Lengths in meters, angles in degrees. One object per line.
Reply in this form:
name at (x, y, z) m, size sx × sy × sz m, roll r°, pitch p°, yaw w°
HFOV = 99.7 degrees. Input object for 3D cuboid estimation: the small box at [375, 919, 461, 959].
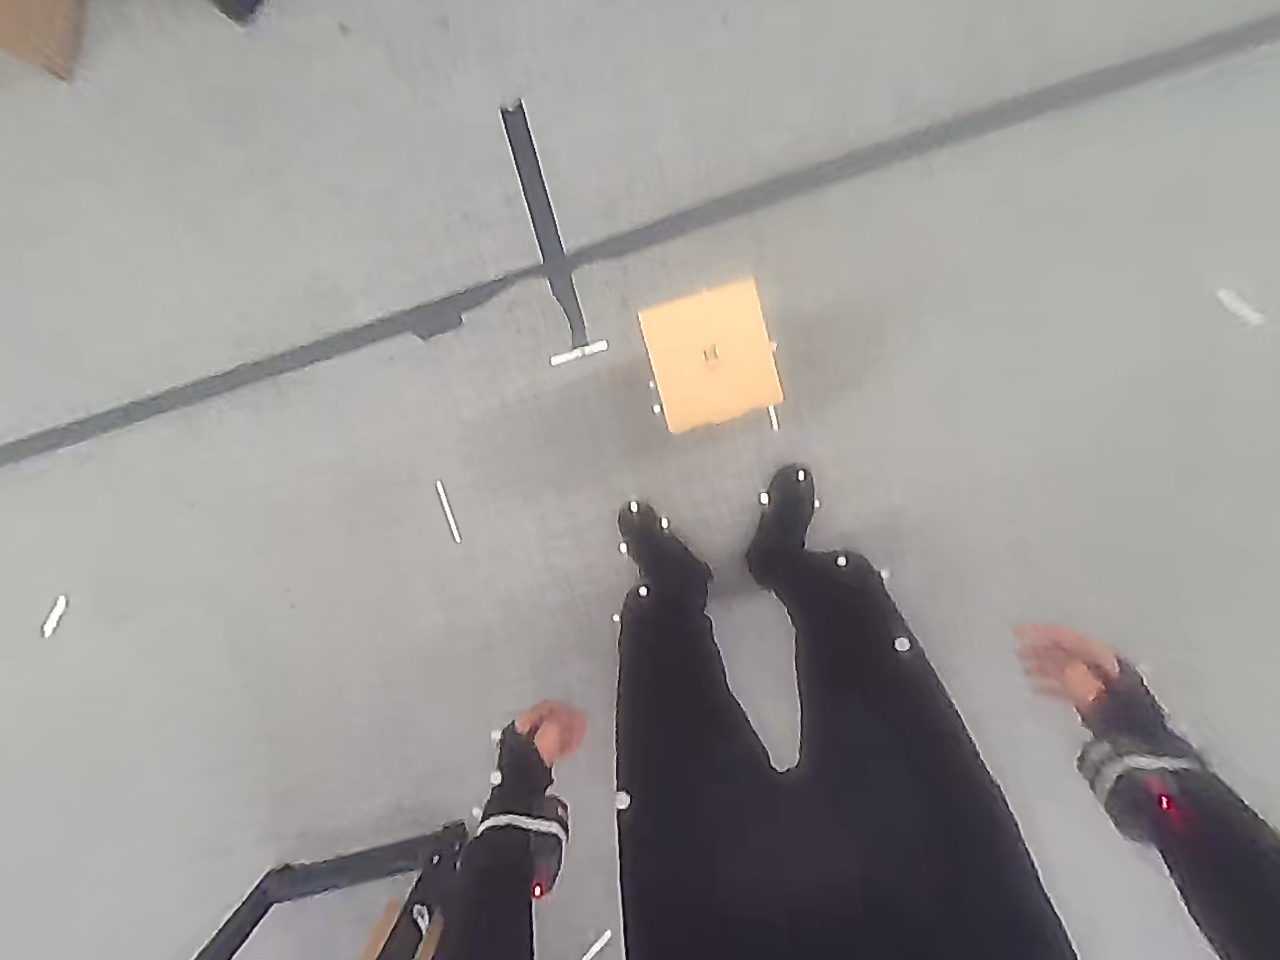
small box at (-0.586, 1.285, 1.400) m, size 0.168 × 0.176 × 0.179 m, roll -16°, pitch 98°, yaw 6°

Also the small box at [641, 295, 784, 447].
small box at (0.102, -0.158, 0.827) m, size 0.168 × 0.176 × 0.179 m, roll -16°, pitch 97°, yaw 4°
